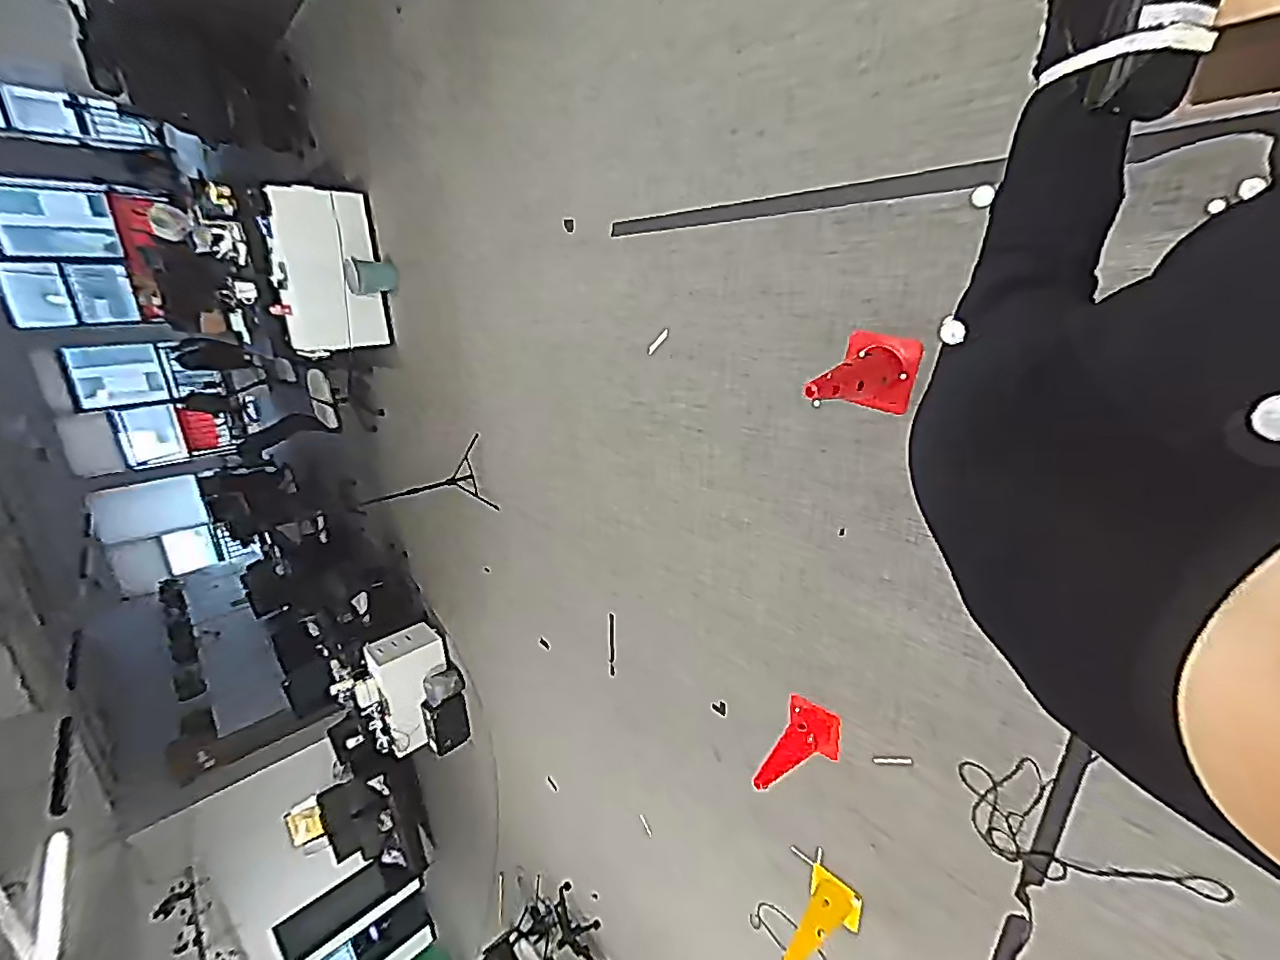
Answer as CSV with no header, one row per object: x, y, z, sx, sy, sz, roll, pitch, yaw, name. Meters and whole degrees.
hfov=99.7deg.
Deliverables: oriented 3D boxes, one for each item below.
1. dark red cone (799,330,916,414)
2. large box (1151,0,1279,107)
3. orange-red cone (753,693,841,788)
0.515,-0.254,1.361,0.201,0.394,0.202,25,122,40,dark red cone
0.573,-0.439,0.271,0.408,0.320,0.320,17,120,43,large box
0.514,0.943,1.870,0.198,0.360,0.199,16,118,46,orange-red cone
